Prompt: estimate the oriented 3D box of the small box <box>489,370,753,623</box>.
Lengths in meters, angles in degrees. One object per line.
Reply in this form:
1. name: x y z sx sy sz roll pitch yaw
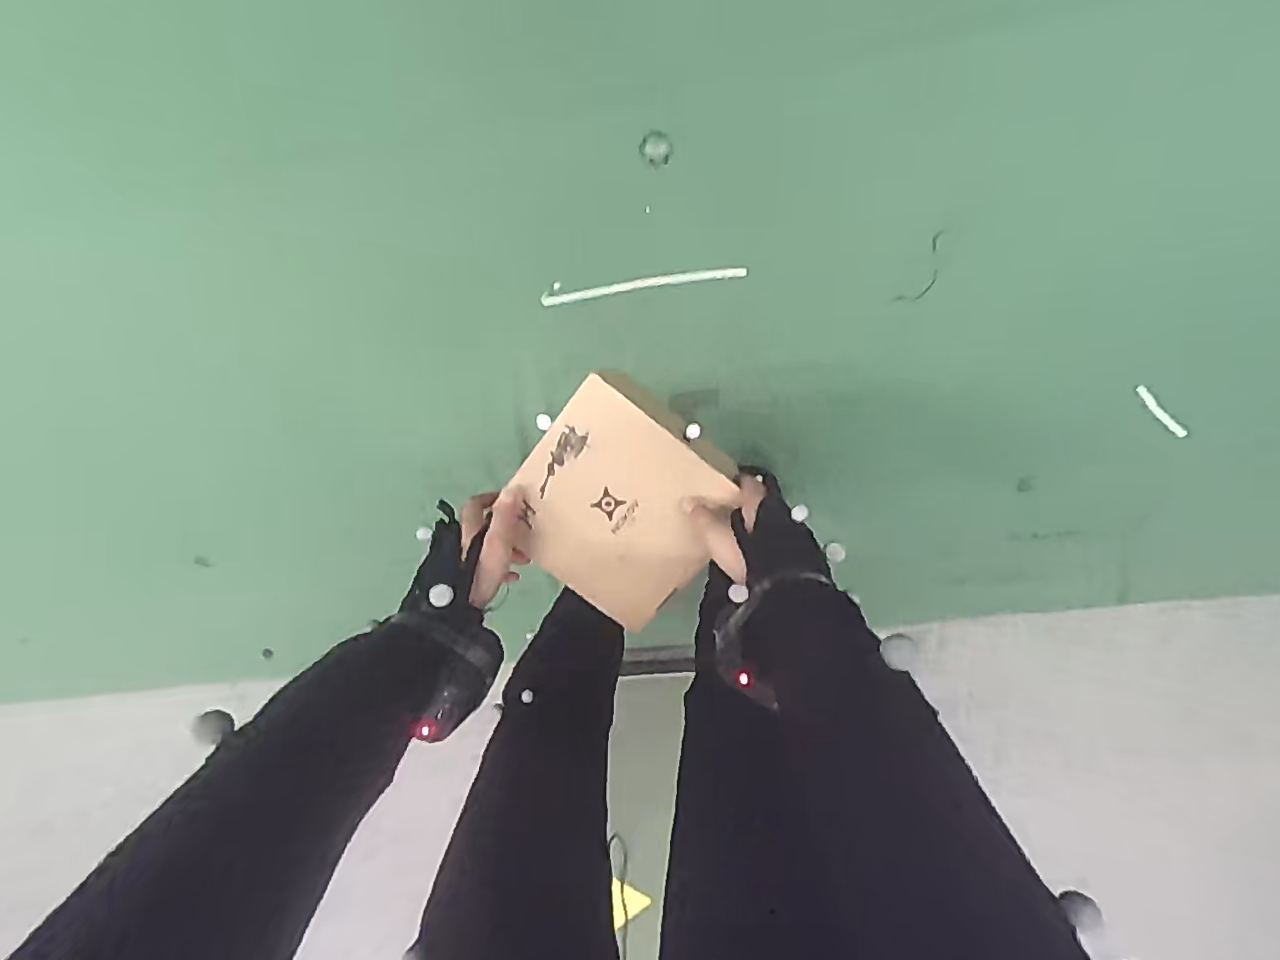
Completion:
1. small box: -0.014 0.001 0.546 0.179 0.176 0.168 38 102 -6
